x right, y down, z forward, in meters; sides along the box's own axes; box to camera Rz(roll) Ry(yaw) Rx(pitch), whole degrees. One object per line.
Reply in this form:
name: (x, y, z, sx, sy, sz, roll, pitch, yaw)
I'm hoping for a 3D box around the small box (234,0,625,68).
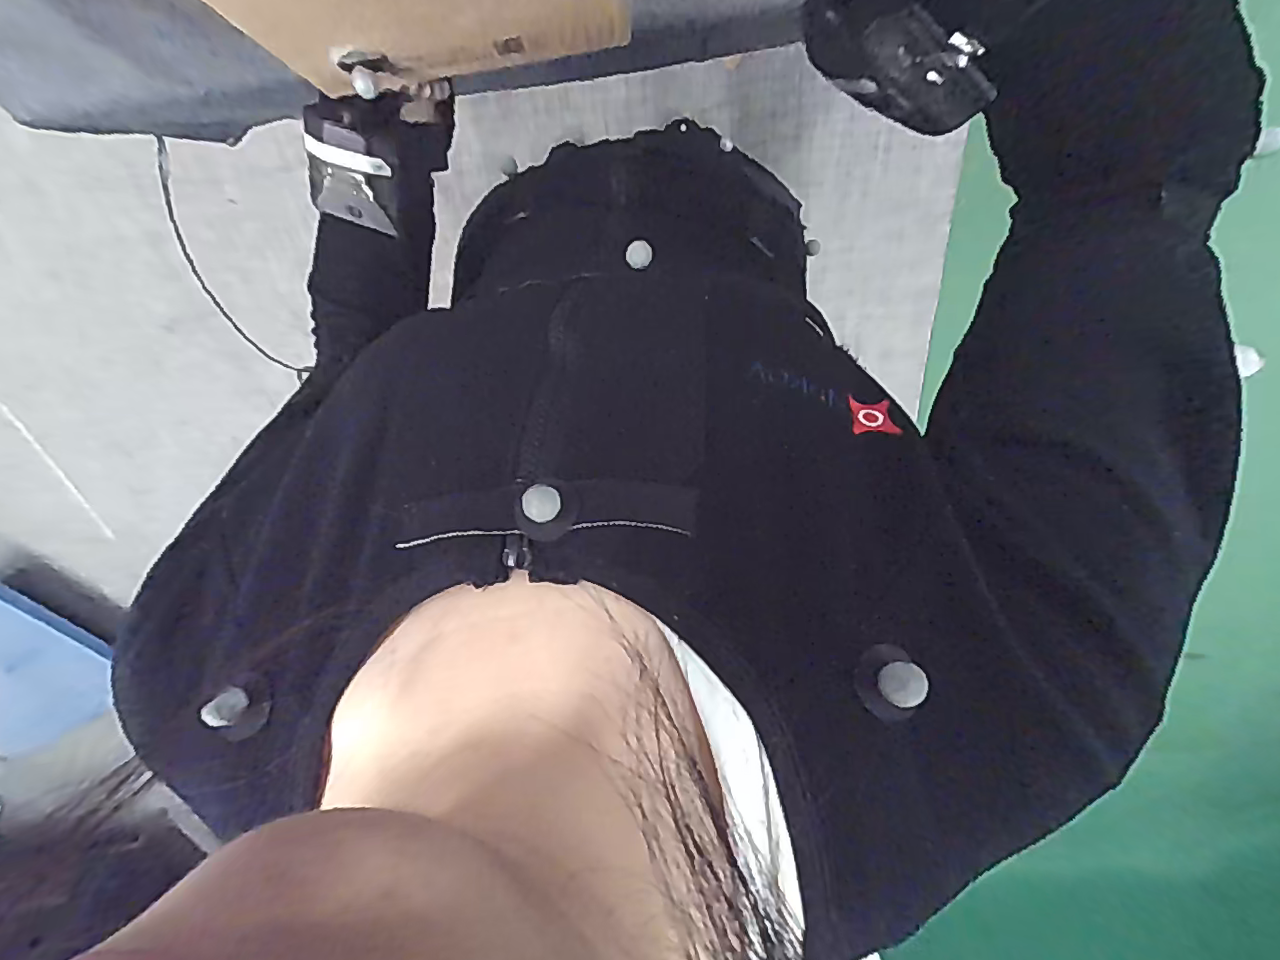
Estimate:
small box: (-0.097, -0.277, 0.182, 0.168, 0.176, 0.179, -9, 105, 2)
